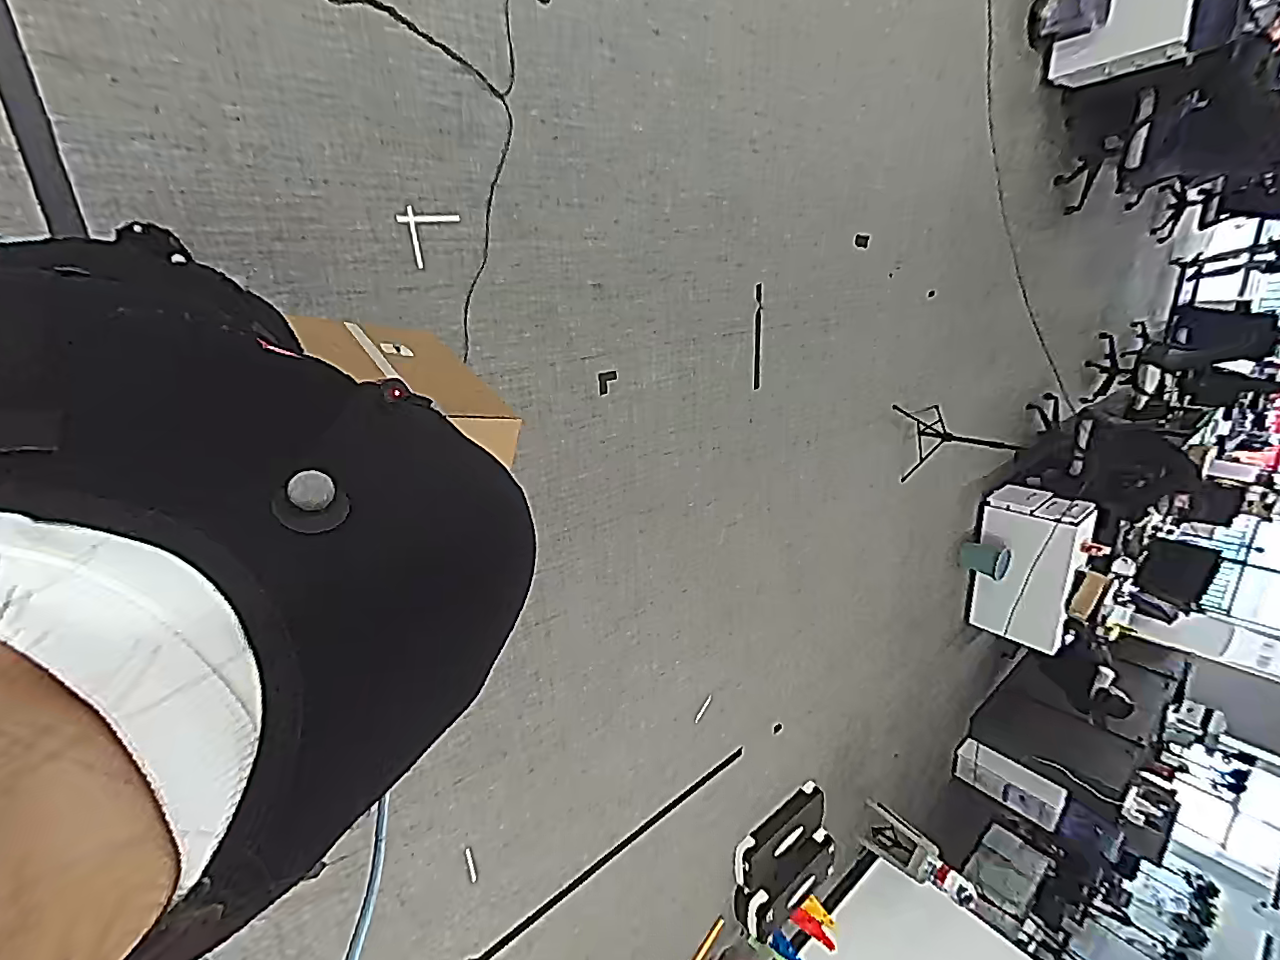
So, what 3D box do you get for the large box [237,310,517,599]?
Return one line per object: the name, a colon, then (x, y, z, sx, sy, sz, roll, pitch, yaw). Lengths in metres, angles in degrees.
large box: (-0.465, -0.063, 0.924, 0.320, 0.408, 0.320, -4, 122, -43)
